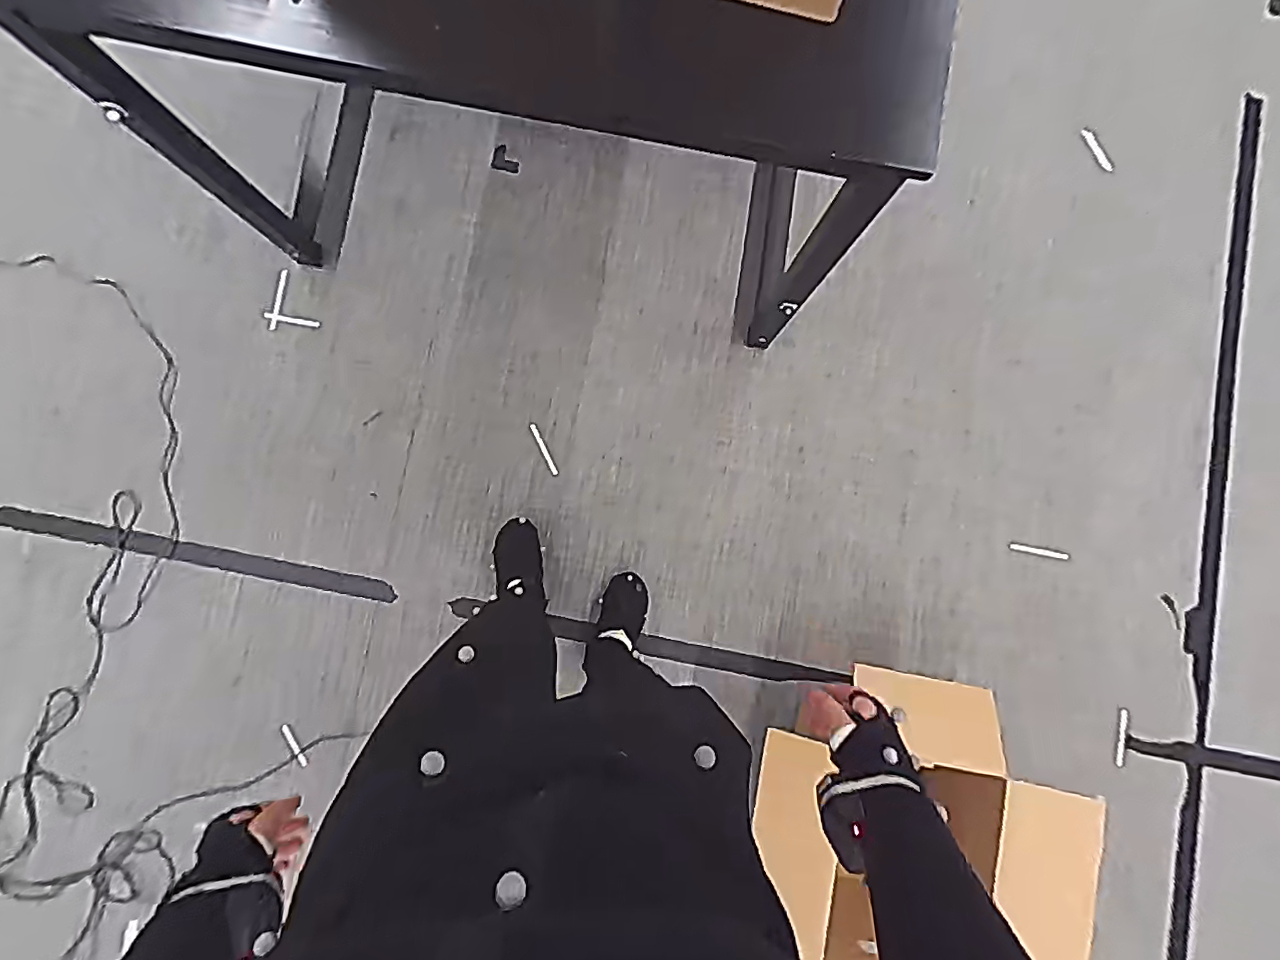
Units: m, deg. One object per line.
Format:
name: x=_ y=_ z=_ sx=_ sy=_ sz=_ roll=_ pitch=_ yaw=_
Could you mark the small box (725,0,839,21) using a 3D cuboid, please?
small box: x=0.168 y=-0.651 z=0.582 sx=0.179 sy=0.176 sz=0.168 roll=13 pitch=85 yaw=0
